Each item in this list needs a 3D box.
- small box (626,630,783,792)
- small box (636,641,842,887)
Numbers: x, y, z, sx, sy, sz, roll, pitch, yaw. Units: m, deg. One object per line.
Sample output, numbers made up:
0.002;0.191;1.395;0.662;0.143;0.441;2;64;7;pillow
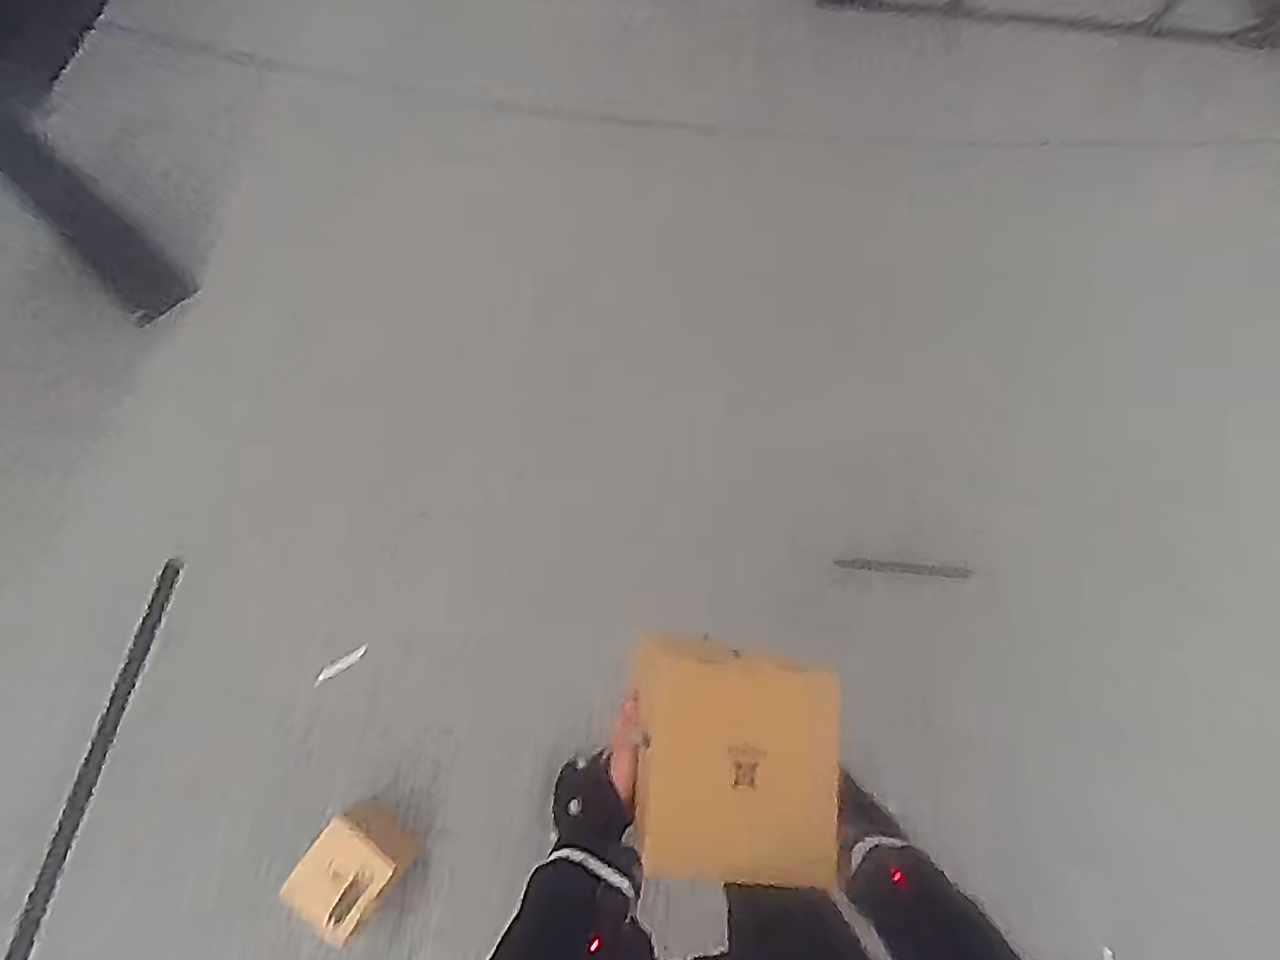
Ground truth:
0.075;0.295;0.702;0.168;0.176;0.179;8;77;-3;small box
0.088;0.264;0.543;0.168;0.176;0.179;6;76;-4;small box
